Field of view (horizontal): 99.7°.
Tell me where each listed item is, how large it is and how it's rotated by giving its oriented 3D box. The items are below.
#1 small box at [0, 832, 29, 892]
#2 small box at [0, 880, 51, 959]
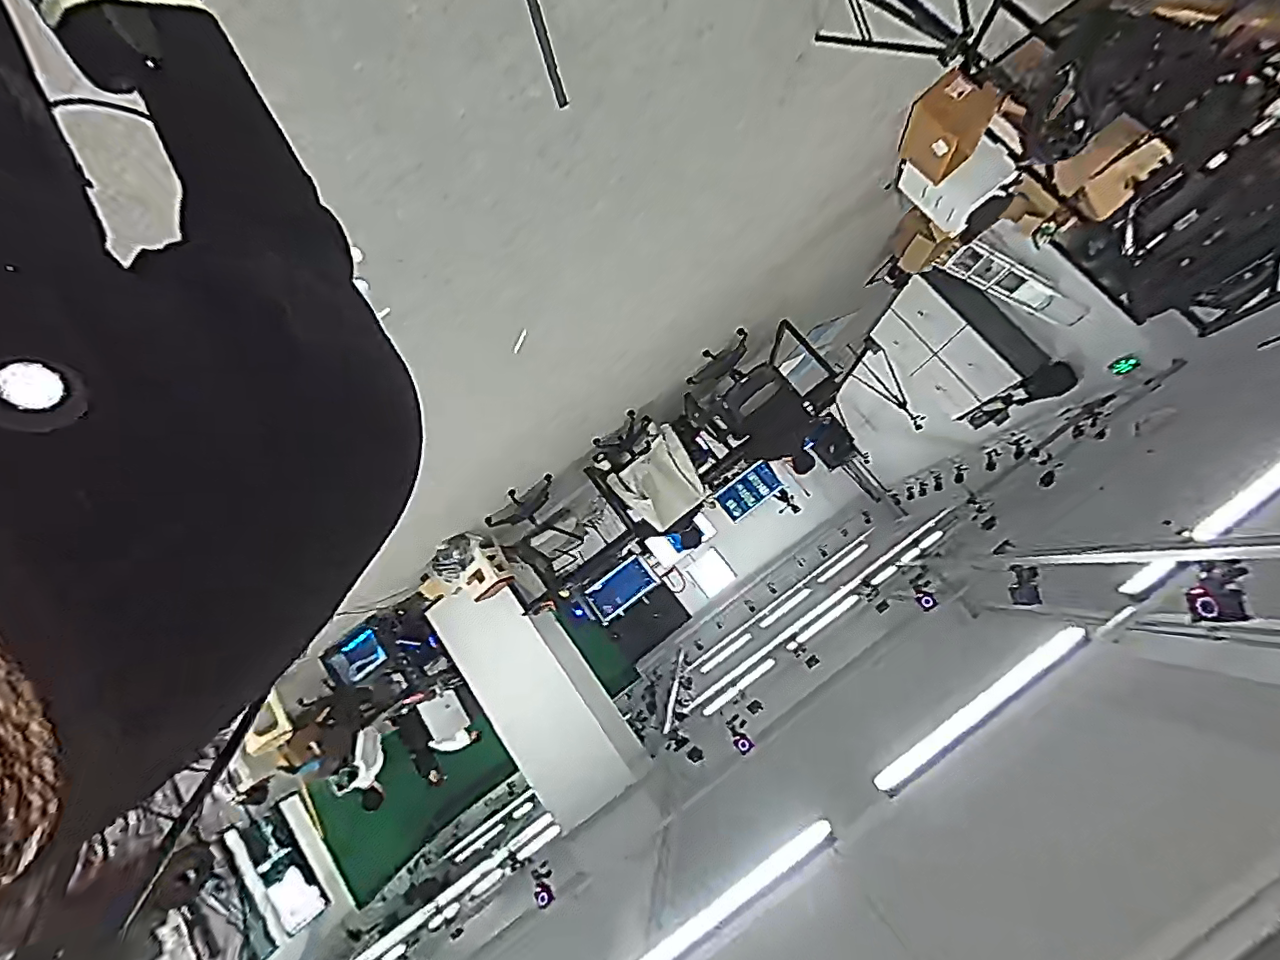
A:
[{"bbox_3d":[-1.902,1.129,1.511,0.179,0.176,0.168,-37,169,2],"label":"small box"},{"bbox_3d":[-1.809,1.262,1.484,0.168,0.176,0.179,-38,168,4],"label":"small box"}]
